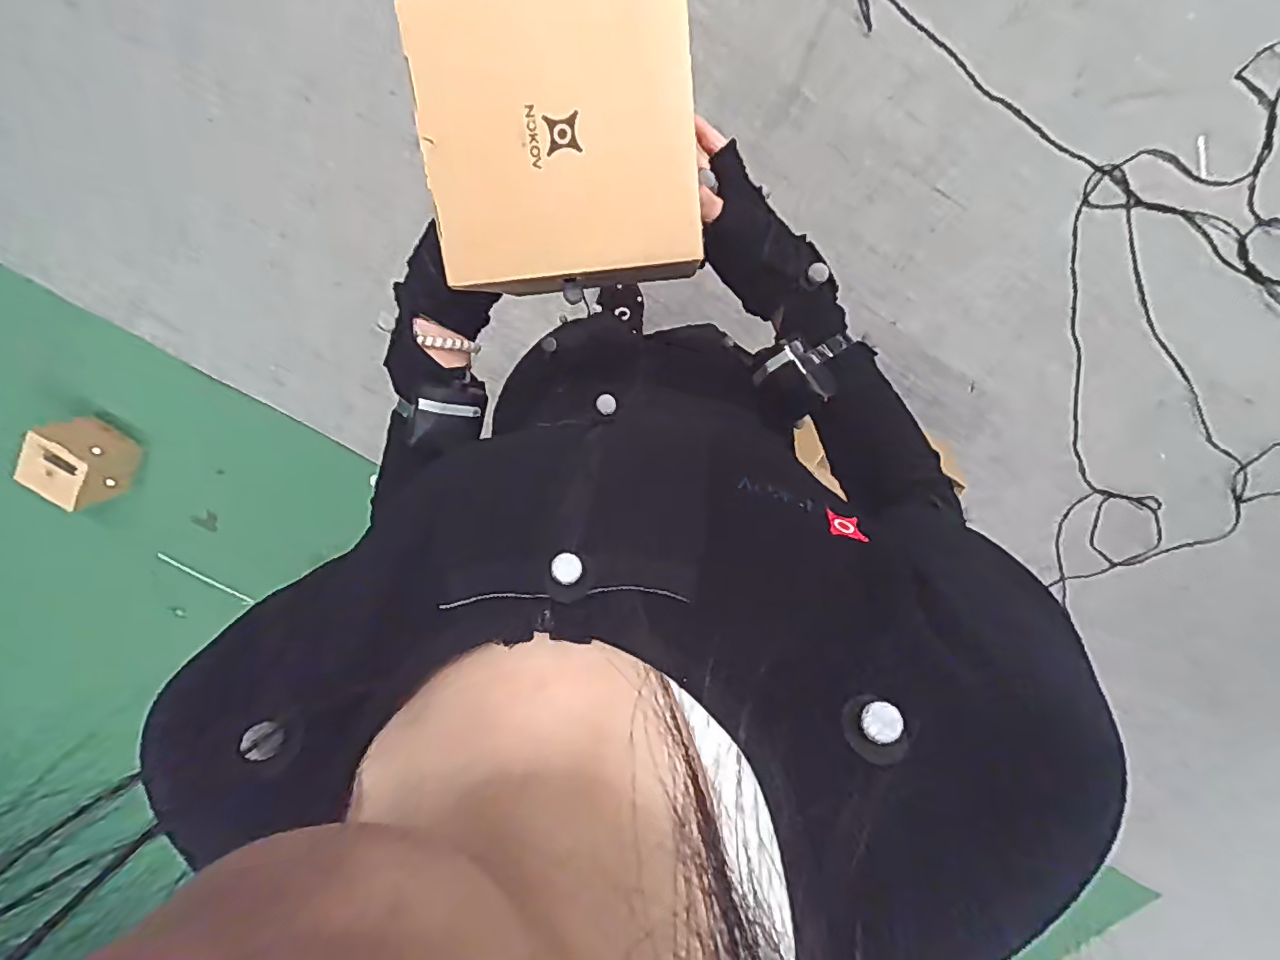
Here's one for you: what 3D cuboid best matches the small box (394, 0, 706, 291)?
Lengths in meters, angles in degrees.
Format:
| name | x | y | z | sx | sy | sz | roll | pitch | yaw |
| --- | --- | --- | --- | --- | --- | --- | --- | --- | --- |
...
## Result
| name | x | y | z | sx | sy | sz | roll | pitch | yaw |
| --- | --- | --- | --- | --- | --- | --- | --- | --- | --- |
| small box | -0.046 | -0.237 | 0.407 | 0.179 | 0.176 | 0.168 | -4 | 107 | 6 |
